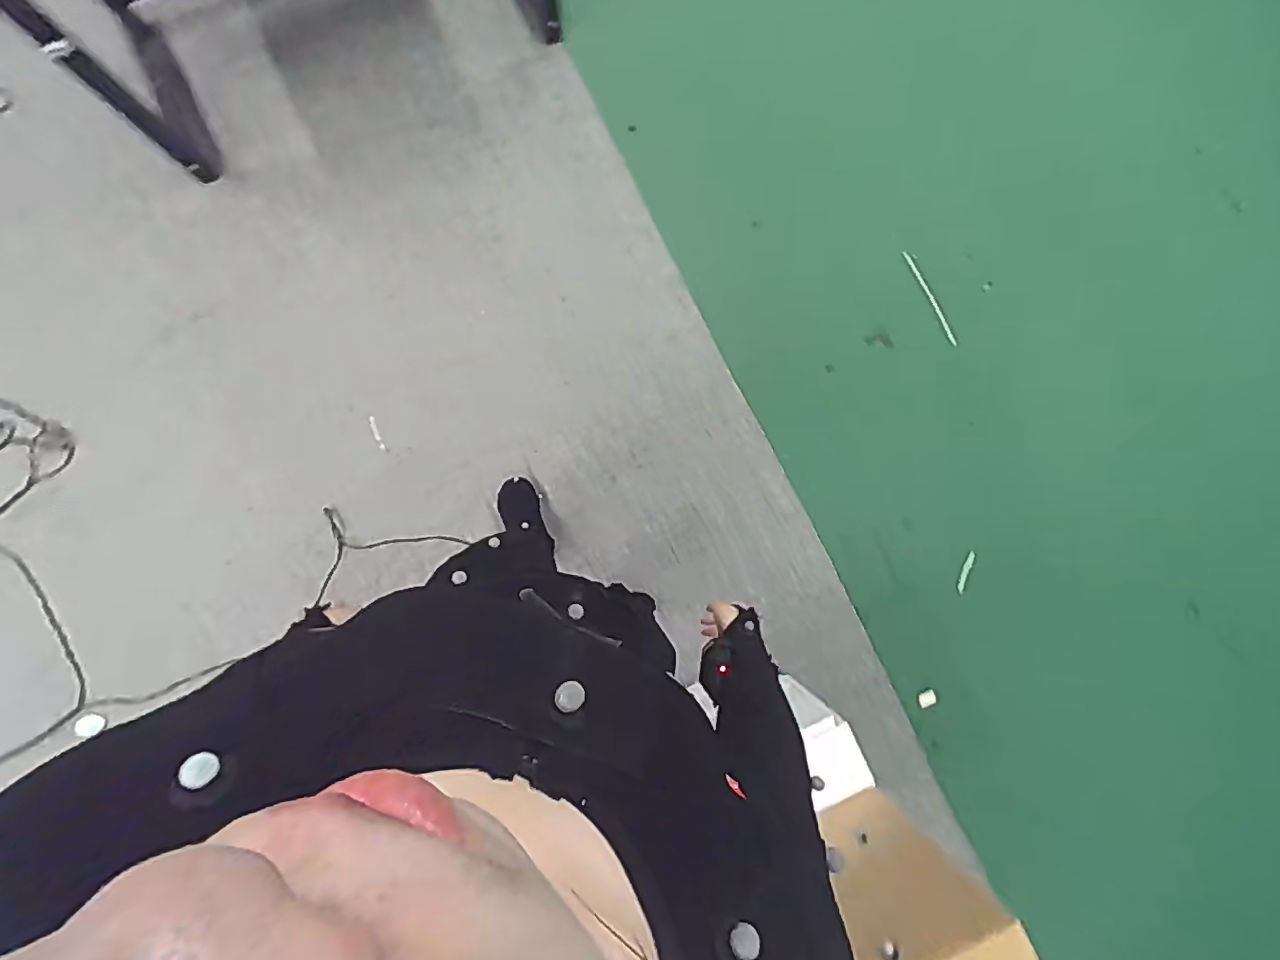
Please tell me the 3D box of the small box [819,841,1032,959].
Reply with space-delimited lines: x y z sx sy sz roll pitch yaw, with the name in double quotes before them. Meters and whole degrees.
"small box" 0.344 0.576 0.637 0.179 0.176 0.168 -24 85 -3
